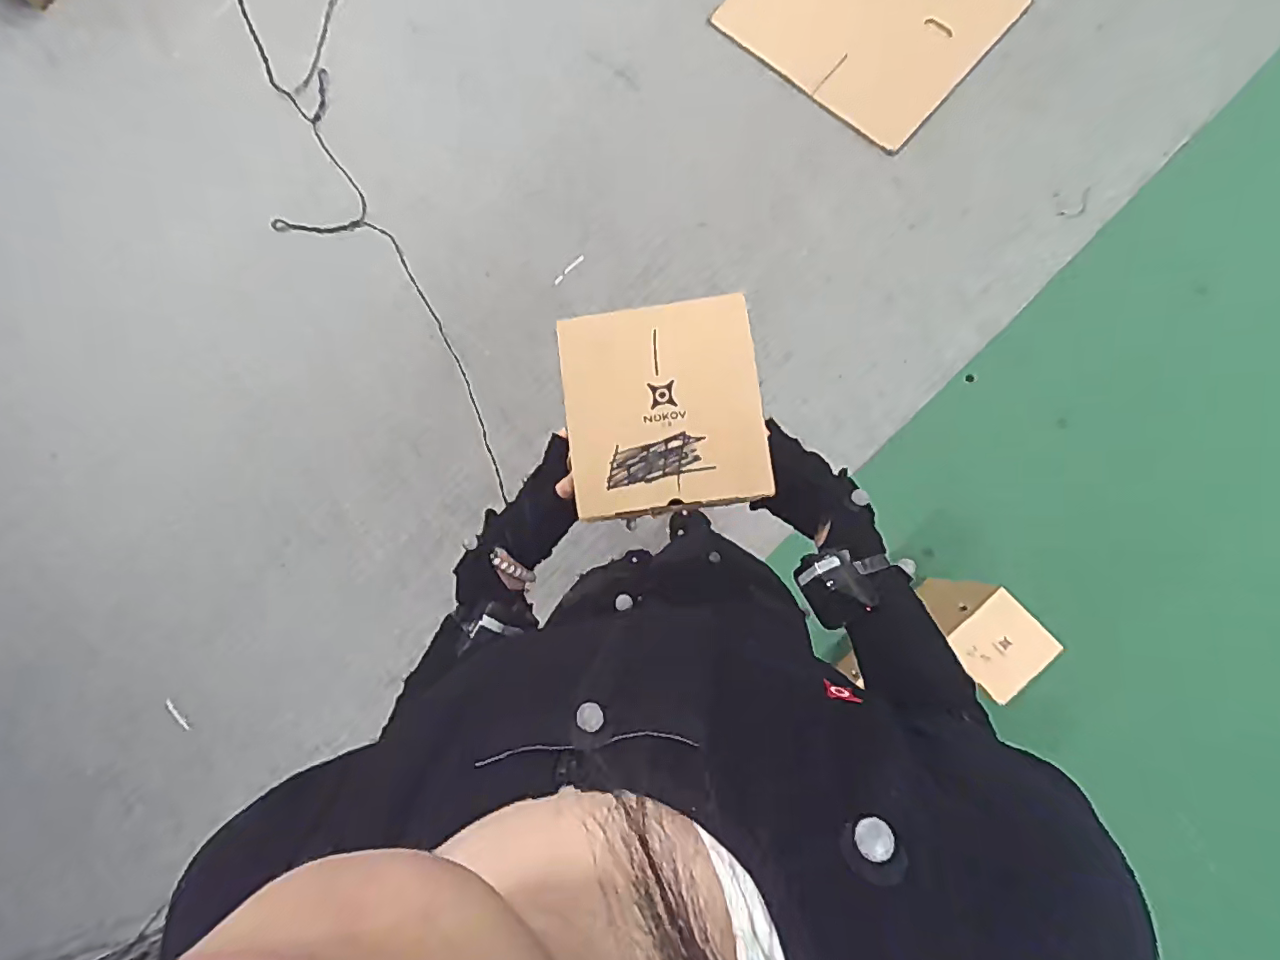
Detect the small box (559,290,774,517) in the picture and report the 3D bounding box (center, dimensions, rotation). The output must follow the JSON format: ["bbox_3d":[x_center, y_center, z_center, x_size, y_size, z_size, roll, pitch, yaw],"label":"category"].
[{"bbox_3d":[0.026,-0.061,0.536,0.168,0.176,0.179,-8,85,2],"label":"small box"}]

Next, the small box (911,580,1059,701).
[{"bbox_3d":[0.732,0.336,1.173,0.179,0.176,0.168,-43,82,0],"label":"small box"}]
